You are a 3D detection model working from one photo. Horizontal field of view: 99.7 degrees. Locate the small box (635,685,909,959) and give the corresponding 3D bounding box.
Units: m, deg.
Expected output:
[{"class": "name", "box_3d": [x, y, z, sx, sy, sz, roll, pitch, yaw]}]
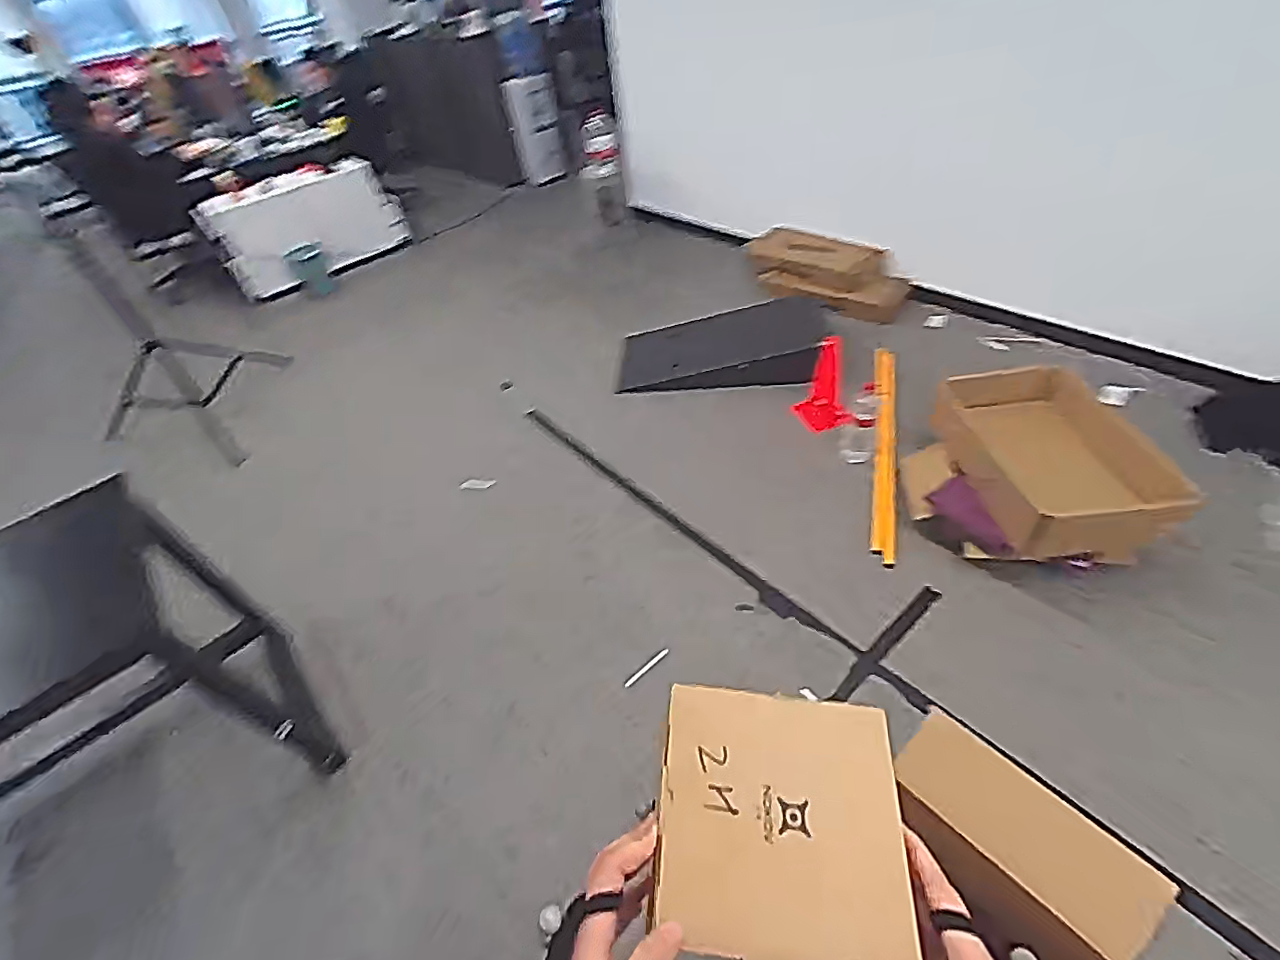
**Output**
[{"class": "small box", "box_3d": [0.091, 0.287, 0.456, 0.179, 0.176, 0.168, 5, 54, 2]}]
